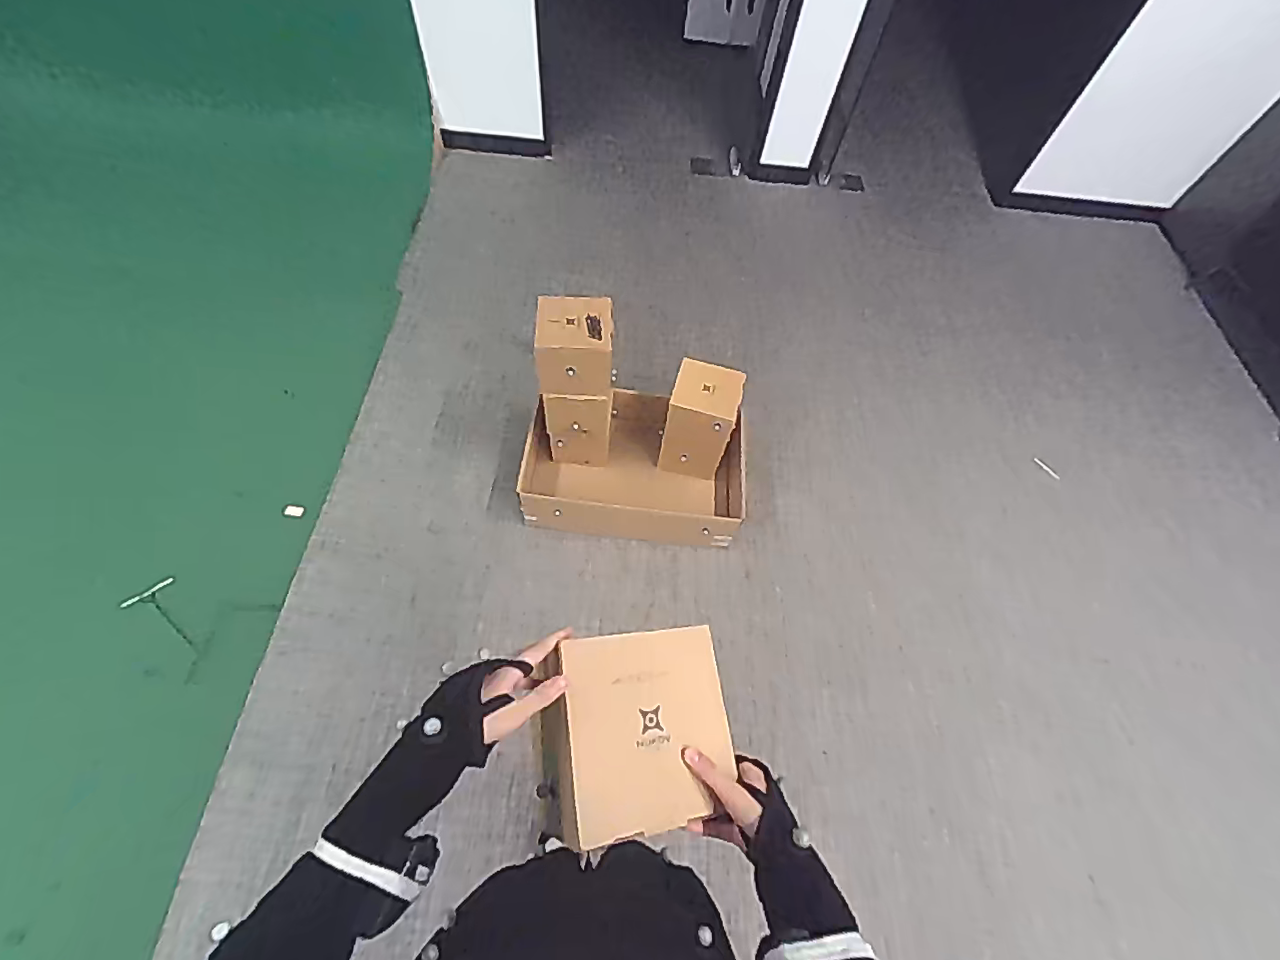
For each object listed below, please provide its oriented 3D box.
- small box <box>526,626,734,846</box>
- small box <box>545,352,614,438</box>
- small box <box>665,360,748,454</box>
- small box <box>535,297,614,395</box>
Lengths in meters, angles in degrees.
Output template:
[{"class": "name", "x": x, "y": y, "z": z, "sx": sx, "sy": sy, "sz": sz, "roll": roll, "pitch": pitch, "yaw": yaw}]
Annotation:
[{"class": "small box", "x": -0.024, "y": 0.262, "z": 0.580, "sx": 0.168, "sy": 0.176, "sz": 0.179, "roll": 3, "pitch": 65, "yaw": -23}, {"class": "small box", "x": -0.160, "y": -0.237, "z": 1.457, "sx": 0.168, "sy": 0.176, "sz": 0.179, "roll": 4, "pitch": 62, "yaw": -2}, {"class": "small box", "x": 0.175, "y": -0.191, "z": 1.465, "sx": 0.179, "sy": 0.176, "sz": 0.168, "roll": 16, "pitch": 62, "yaw": 4}, {"class": "small box", "x": -0.153, "y": -0.320, "z": 1.315, "sx": 0.179, "sy": 0.176, "sz": 0.168, "roll": 1, "pitch": 61, "yaw": -3}]
